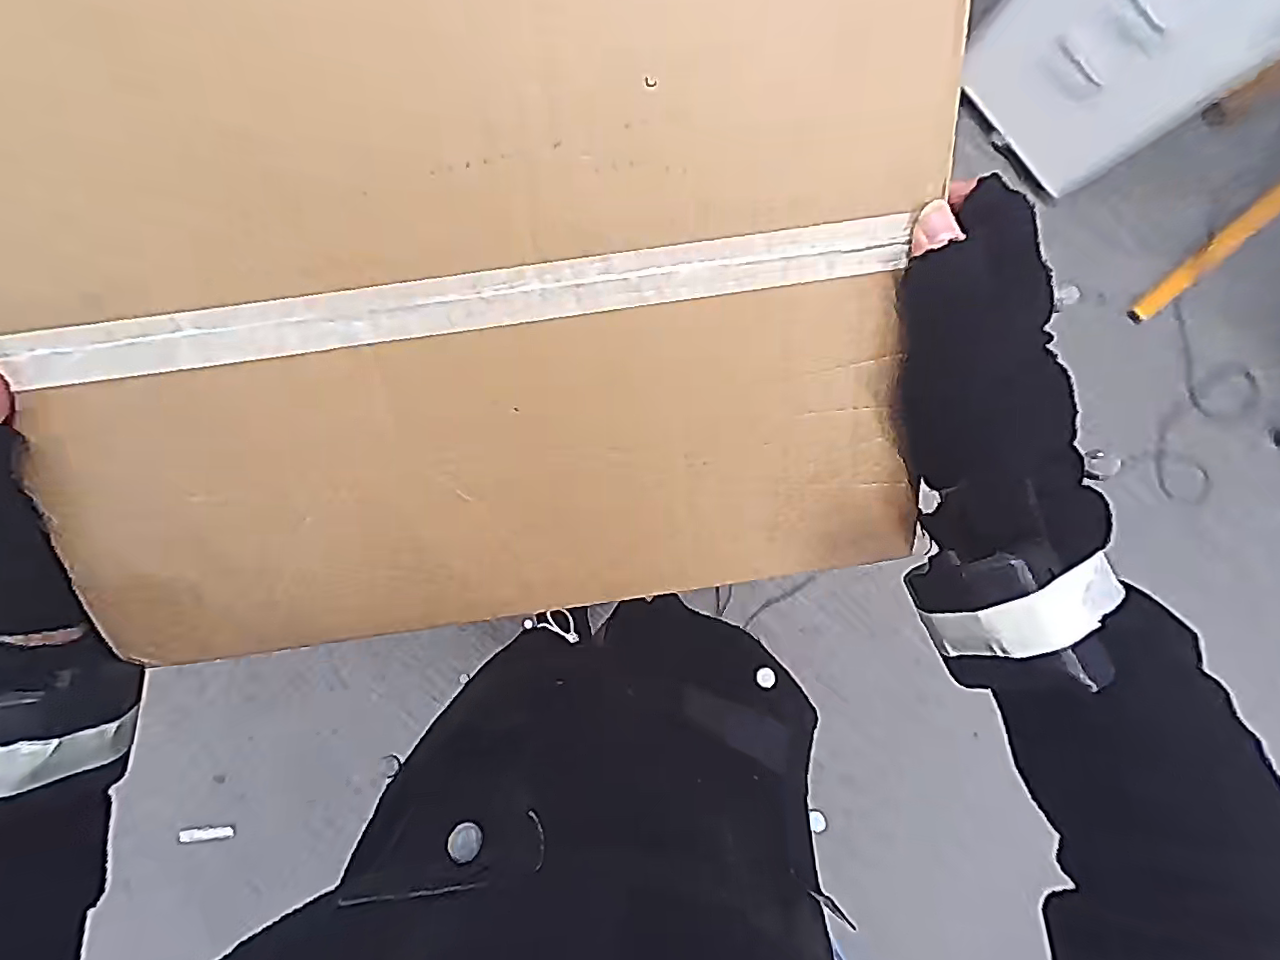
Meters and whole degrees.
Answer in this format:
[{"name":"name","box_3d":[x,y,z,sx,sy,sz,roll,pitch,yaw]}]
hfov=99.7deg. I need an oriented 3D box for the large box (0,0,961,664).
[{"name":"large box","box_3d":[-0.081,-0.125,0.365,0.408,0.320,0.320,-7,115,-1]}]
